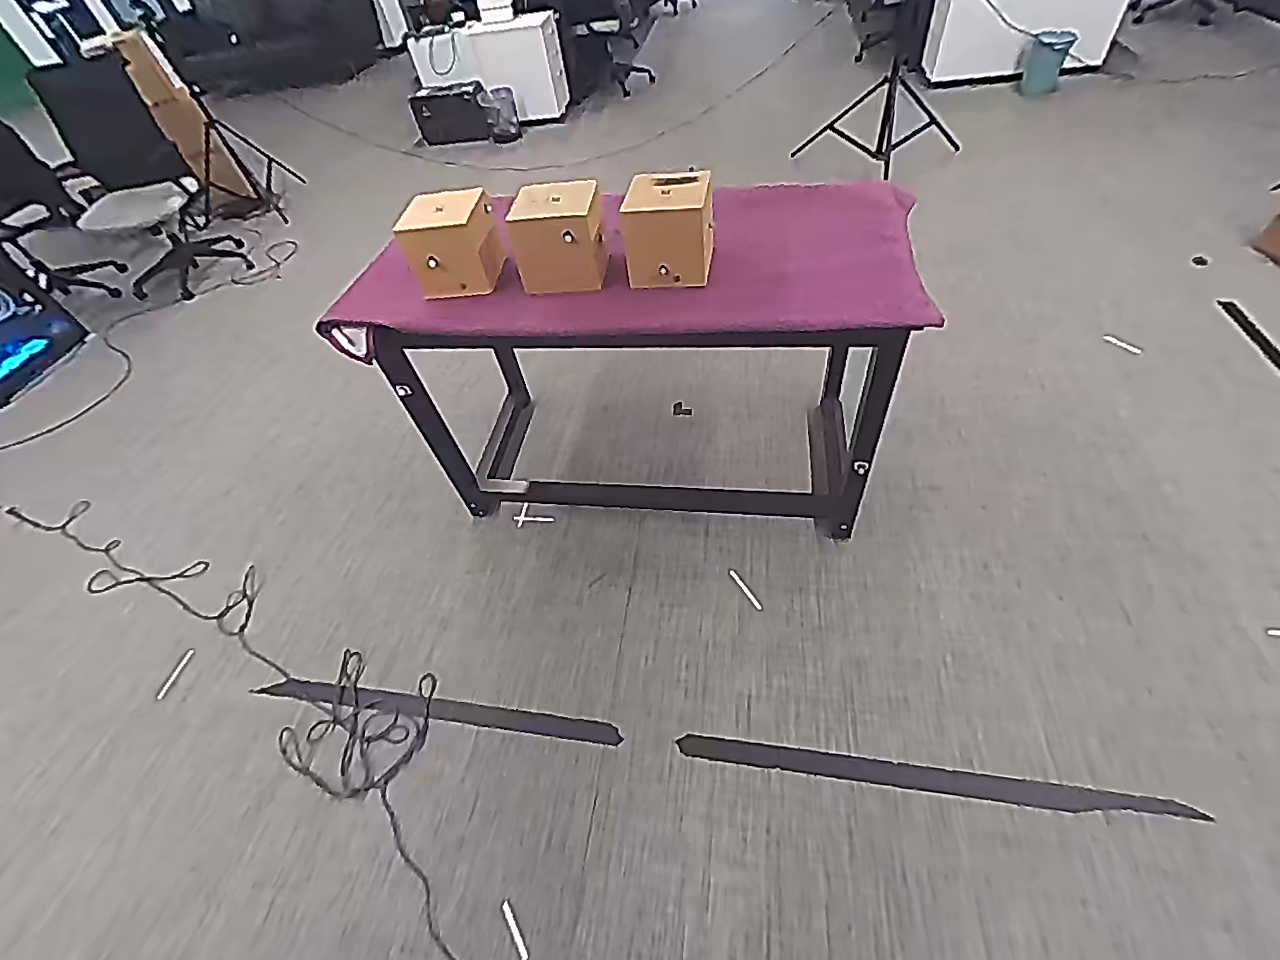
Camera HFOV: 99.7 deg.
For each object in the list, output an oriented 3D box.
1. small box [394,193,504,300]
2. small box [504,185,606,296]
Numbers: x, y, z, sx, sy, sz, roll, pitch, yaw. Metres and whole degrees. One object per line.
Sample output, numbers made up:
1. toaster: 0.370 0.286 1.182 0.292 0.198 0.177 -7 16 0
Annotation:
1. small box: -0.427 -0.531 1.245 0.168 0.176 0.179 -3 49 7
2. small box: -0.176 -0.526 1.196 0.179 0.176 0.168 -1 49 8
